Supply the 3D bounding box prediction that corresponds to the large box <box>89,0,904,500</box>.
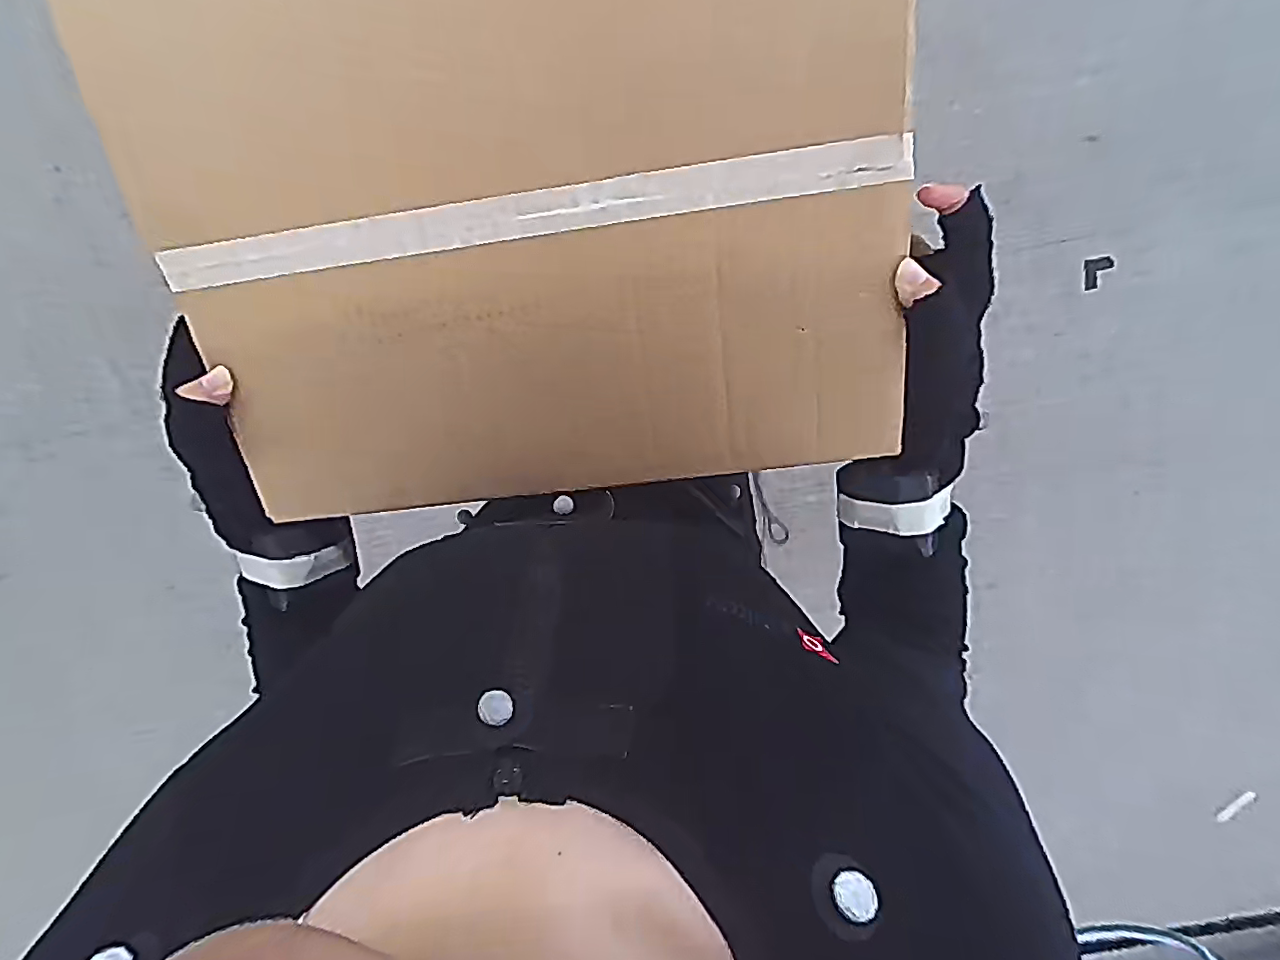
[{"bbox_3d":[-0.059,-0.203,0.434,0.408,0.320,0.320,-6,112,4],"label":"large box"}]
